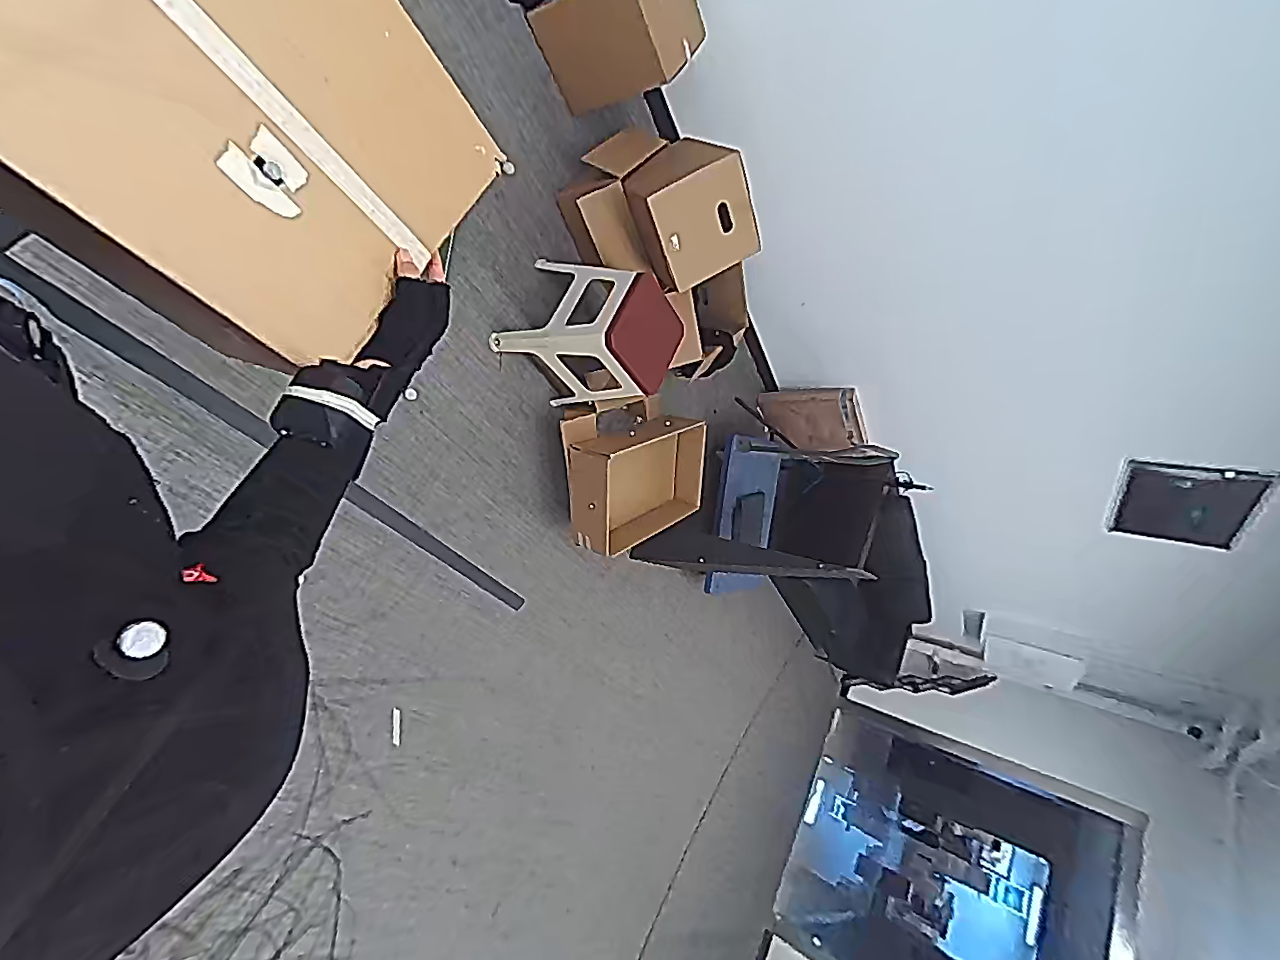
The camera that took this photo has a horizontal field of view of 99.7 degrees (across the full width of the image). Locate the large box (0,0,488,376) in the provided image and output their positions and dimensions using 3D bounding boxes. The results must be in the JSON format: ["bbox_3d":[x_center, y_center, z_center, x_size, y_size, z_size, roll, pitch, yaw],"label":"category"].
[{"bbox_3d":[-0.436,-0.352,0.489,0.320,0.320,0.408,-60,142,-15],"label":"large box"}]
